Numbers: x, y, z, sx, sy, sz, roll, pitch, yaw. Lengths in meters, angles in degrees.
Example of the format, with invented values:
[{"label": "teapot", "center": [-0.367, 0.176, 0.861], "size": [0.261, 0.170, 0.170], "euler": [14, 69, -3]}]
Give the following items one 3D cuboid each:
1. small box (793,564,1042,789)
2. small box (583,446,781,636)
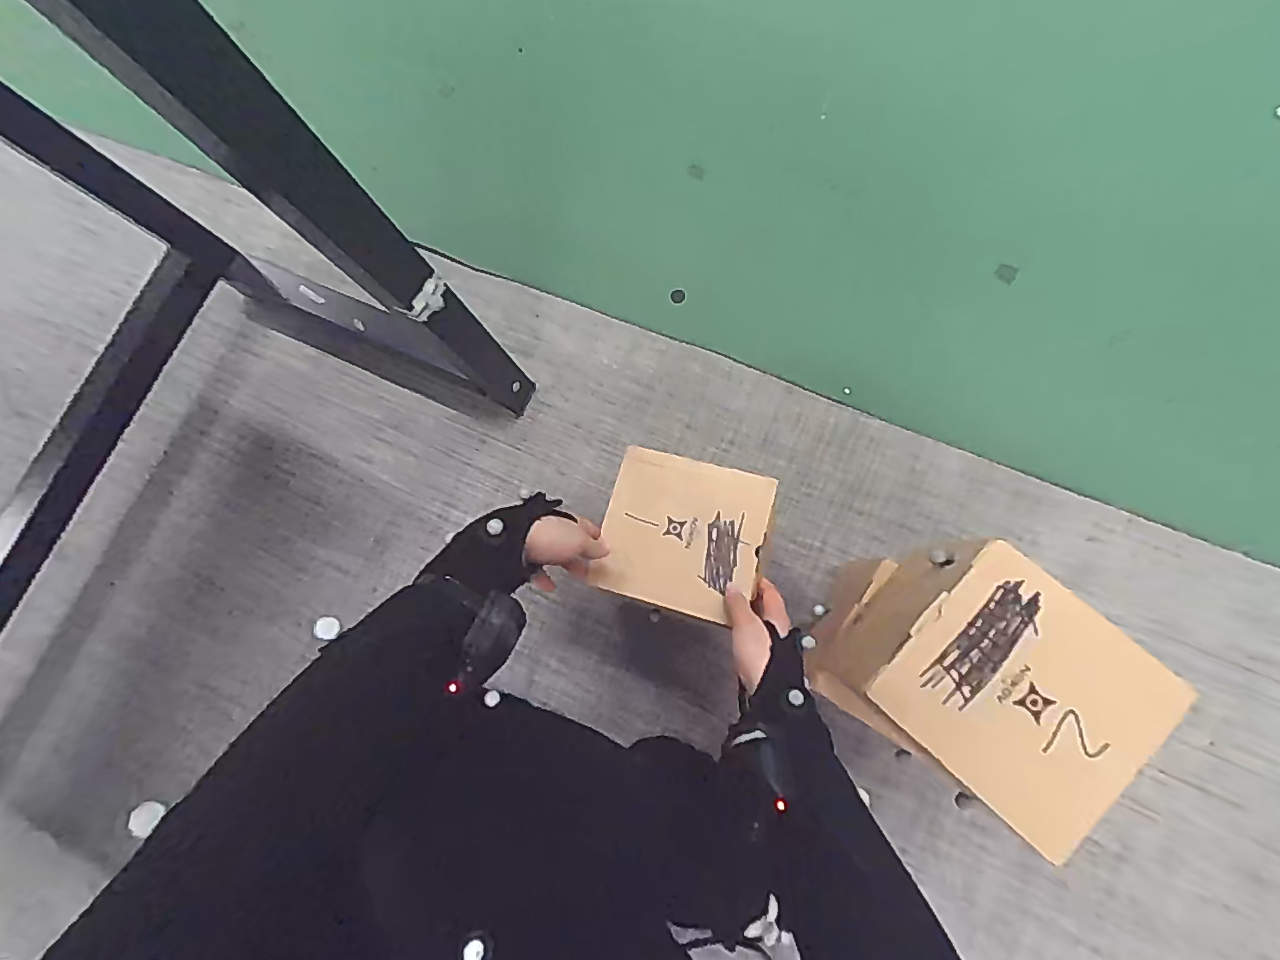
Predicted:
[{"label": "small box", "center": [0.308, 0.213, 0.642], "size": [0.179, 0.176, 0.168], "euler": [32, 85, 11]}, {"label": "small box", "center": [0.053, 0.079, 0.649], "size": [0.179, 0.176, 0.168], "euler": [15, 76, 10]}]
